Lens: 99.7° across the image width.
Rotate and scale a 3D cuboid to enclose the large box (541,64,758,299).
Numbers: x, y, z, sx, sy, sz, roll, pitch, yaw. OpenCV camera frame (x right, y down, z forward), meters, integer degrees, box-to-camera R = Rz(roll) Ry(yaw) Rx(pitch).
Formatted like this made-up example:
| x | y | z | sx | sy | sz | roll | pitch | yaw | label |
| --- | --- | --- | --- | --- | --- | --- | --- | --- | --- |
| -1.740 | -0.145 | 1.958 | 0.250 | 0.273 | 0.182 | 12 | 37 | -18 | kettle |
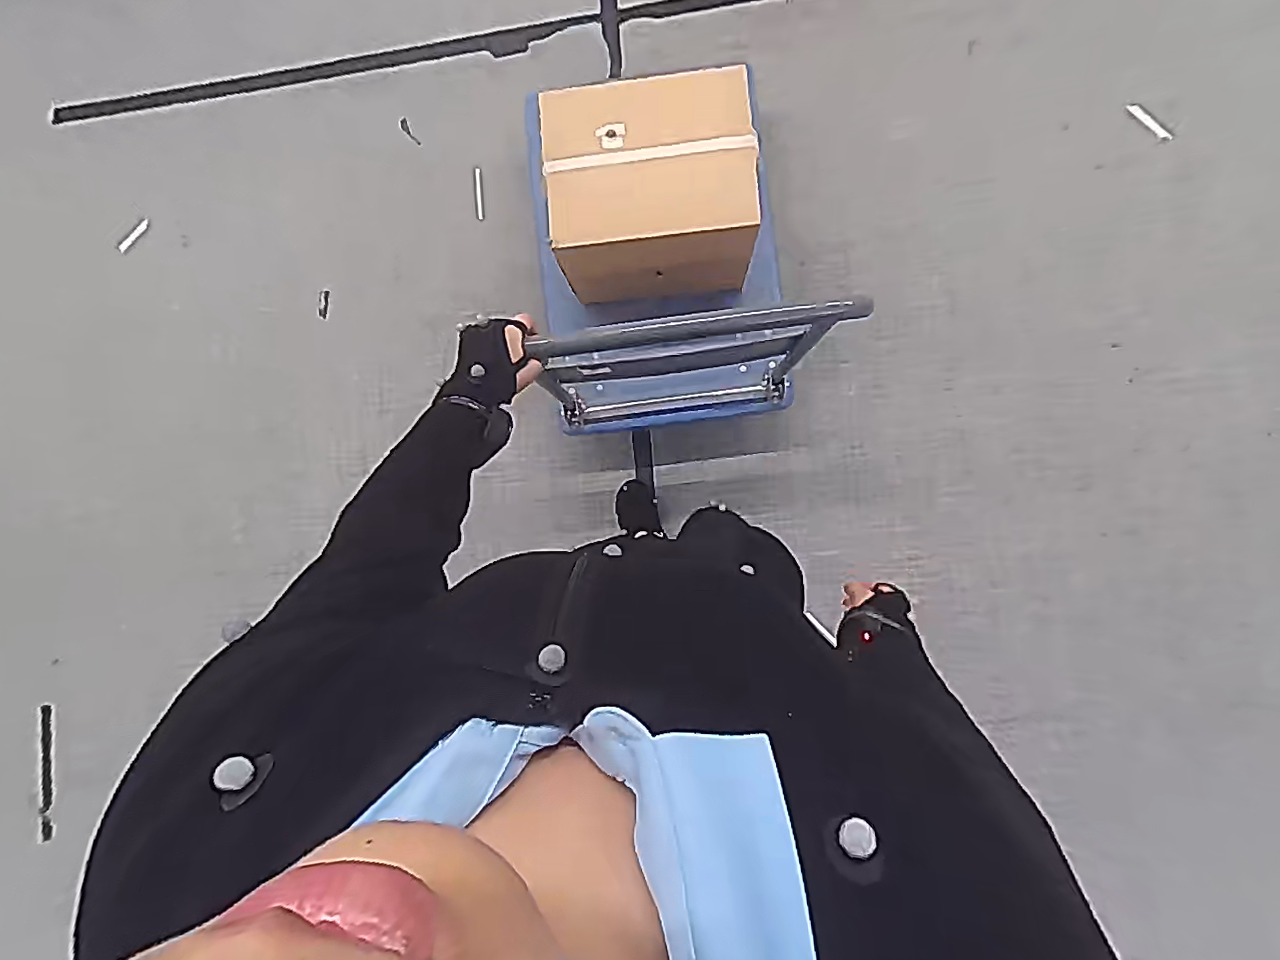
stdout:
| x | y | z | sx | sy | sz | roll | pitch | yaw | label |
| --- | --- | --- | --- | --- | --- | --- | --- | --- | --- |
| 0.027 | -0.623 | 1.194 | 0.408 | 0.320 | 0.320 | -5 | 87 | 5 | large box |
